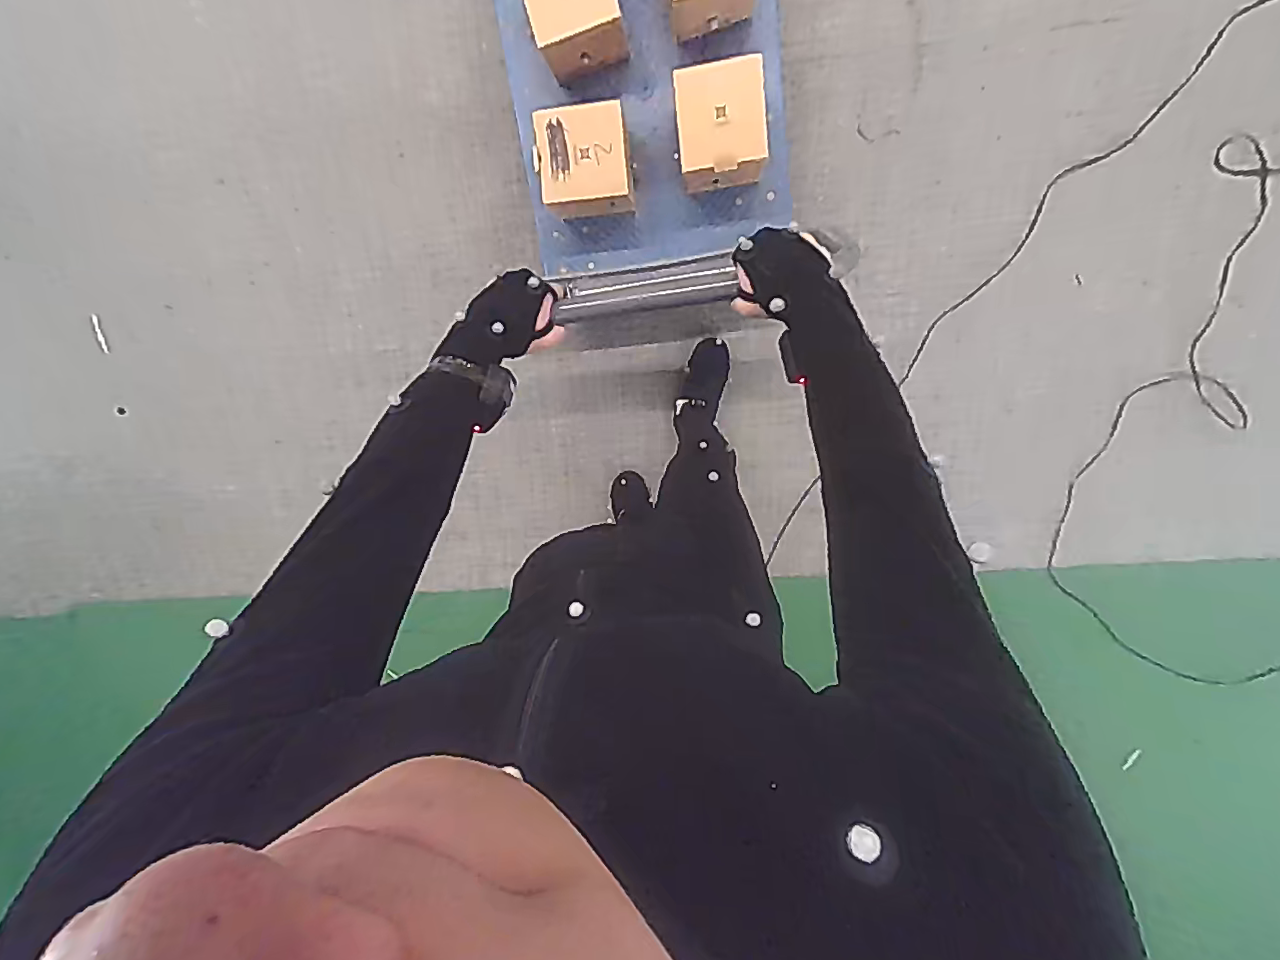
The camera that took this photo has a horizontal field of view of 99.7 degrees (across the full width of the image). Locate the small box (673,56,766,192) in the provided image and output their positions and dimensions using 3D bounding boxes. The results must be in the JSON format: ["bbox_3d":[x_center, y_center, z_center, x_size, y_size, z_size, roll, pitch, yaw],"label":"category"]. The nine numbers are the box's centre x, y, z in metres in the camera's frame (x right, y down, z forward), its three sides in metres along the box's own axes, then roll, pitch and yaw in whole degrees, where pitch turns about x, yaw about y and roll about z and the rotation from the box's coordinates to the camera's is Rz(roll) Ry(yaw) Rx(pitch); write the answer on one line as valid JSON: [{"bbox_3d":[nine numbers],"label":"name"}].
[{"bbox_3d":[0.156,-0.706,1.092,0.168,0.176,0.179,-7,107,7],"label":"small box"}]

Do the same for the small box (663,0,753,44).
[{"bbox_3d":[0.118,-0.979,1.014,0.168,0.176,0.179,-13,105,9],"label":"small box"}]

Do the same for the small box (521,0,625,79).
[{"bbox_3d":[-0.134,-0.923,1.053,0.168,0.176,0.179,-14,105,8],"label":"small box"}]
